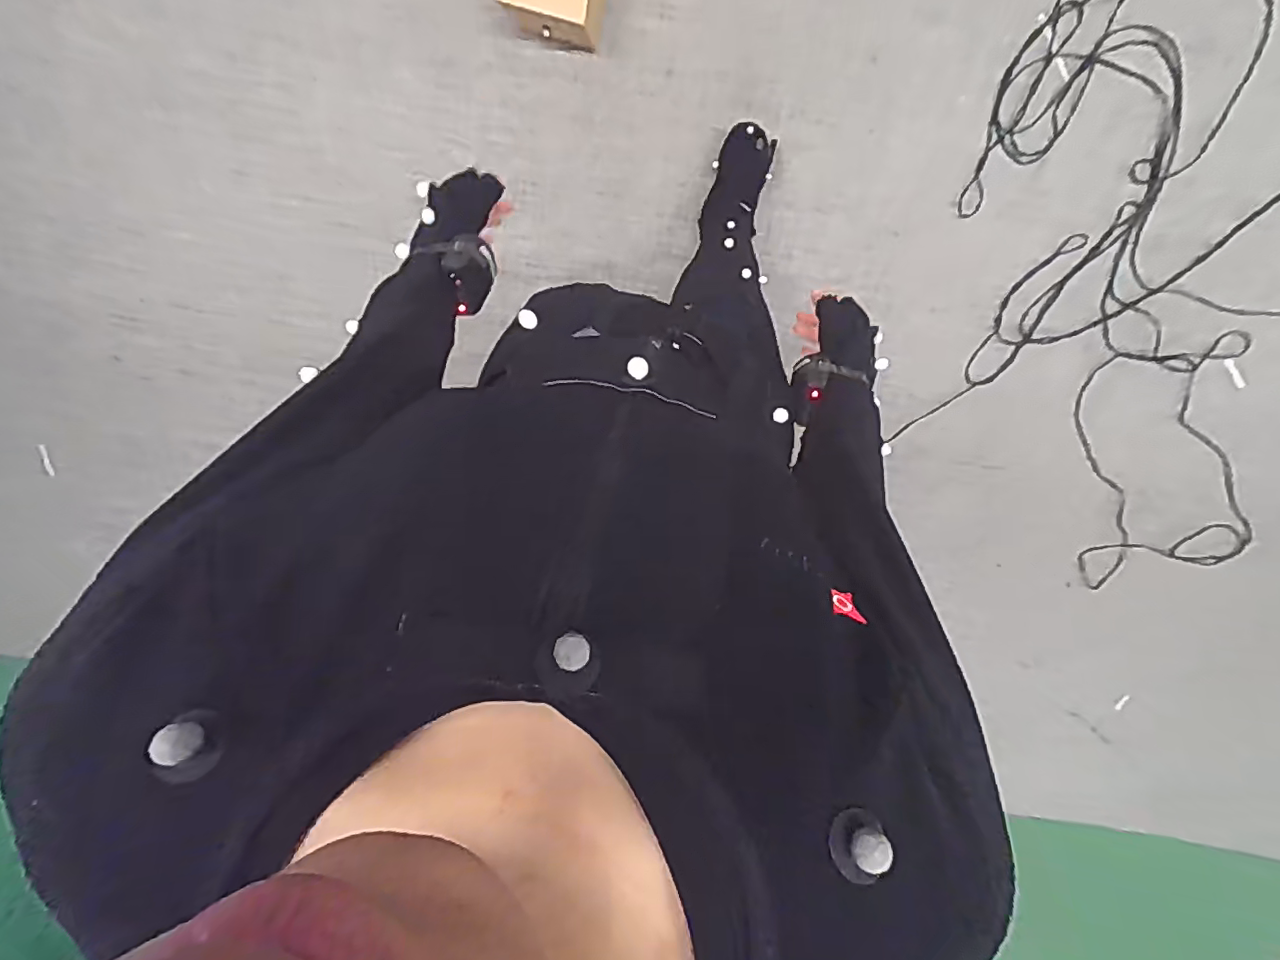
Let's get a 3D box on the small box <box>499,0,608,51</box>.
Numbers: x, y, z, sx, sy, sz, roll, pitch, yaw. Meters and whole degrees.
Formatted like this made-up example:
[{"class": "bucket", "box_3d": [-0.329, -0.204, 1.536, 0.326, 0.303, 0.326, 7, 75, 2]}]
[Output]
[{"class": "small box", "box_3d": [-0.147, -0.937, 1.003, 0.168, 0.176, 0.179, 14, 116, -3]}]
